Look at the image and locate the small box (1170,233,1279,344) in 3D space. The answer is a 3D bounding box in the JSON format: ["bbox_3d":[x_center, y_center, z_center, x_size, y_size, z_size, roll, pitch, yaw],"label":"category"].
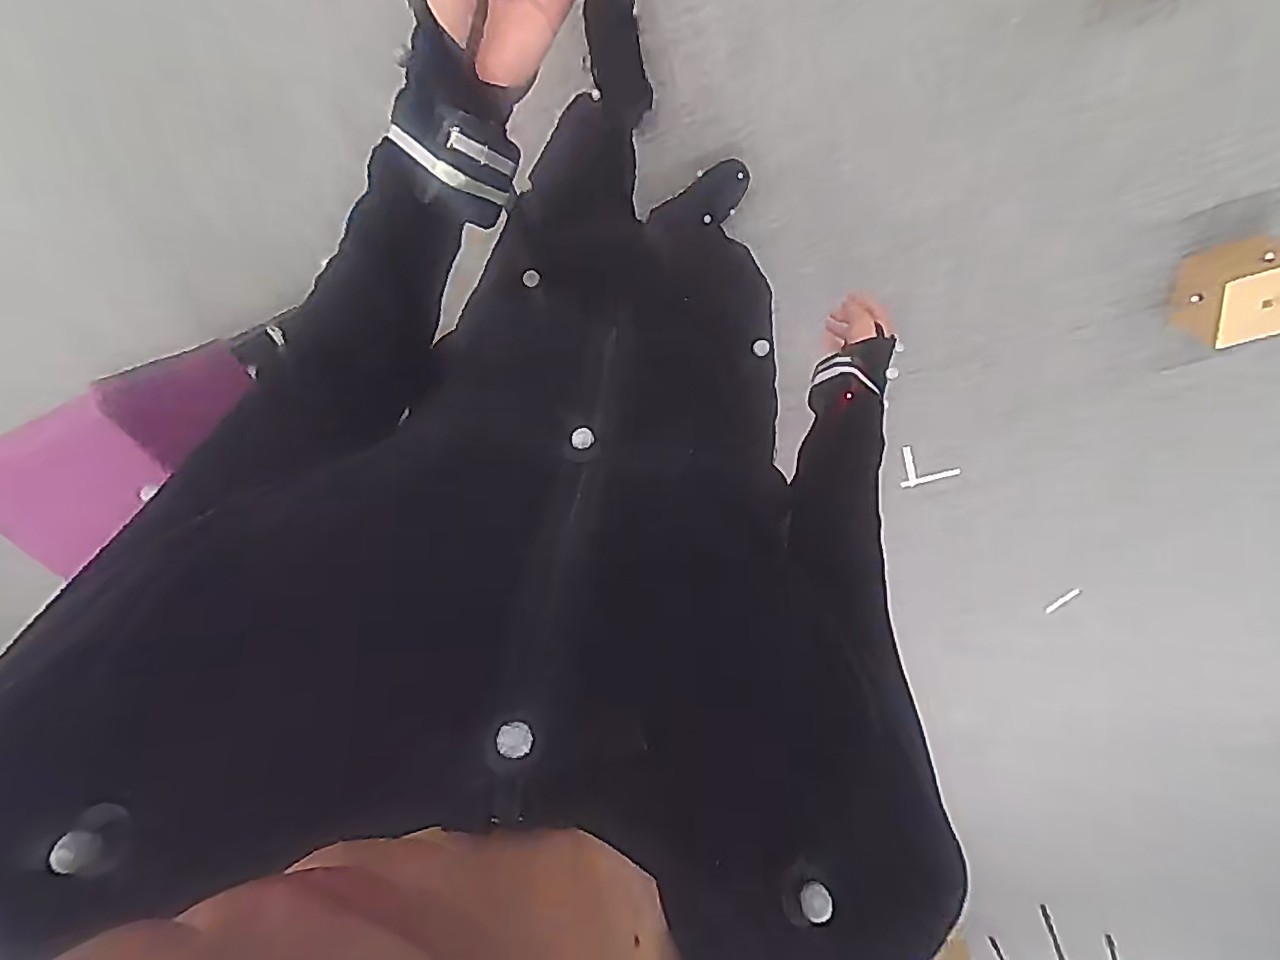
[{"bbox_3d":[1.381,-0.442,1.244,0.179,0.176,0.168,-16,122,18],"label":"small box"}]
